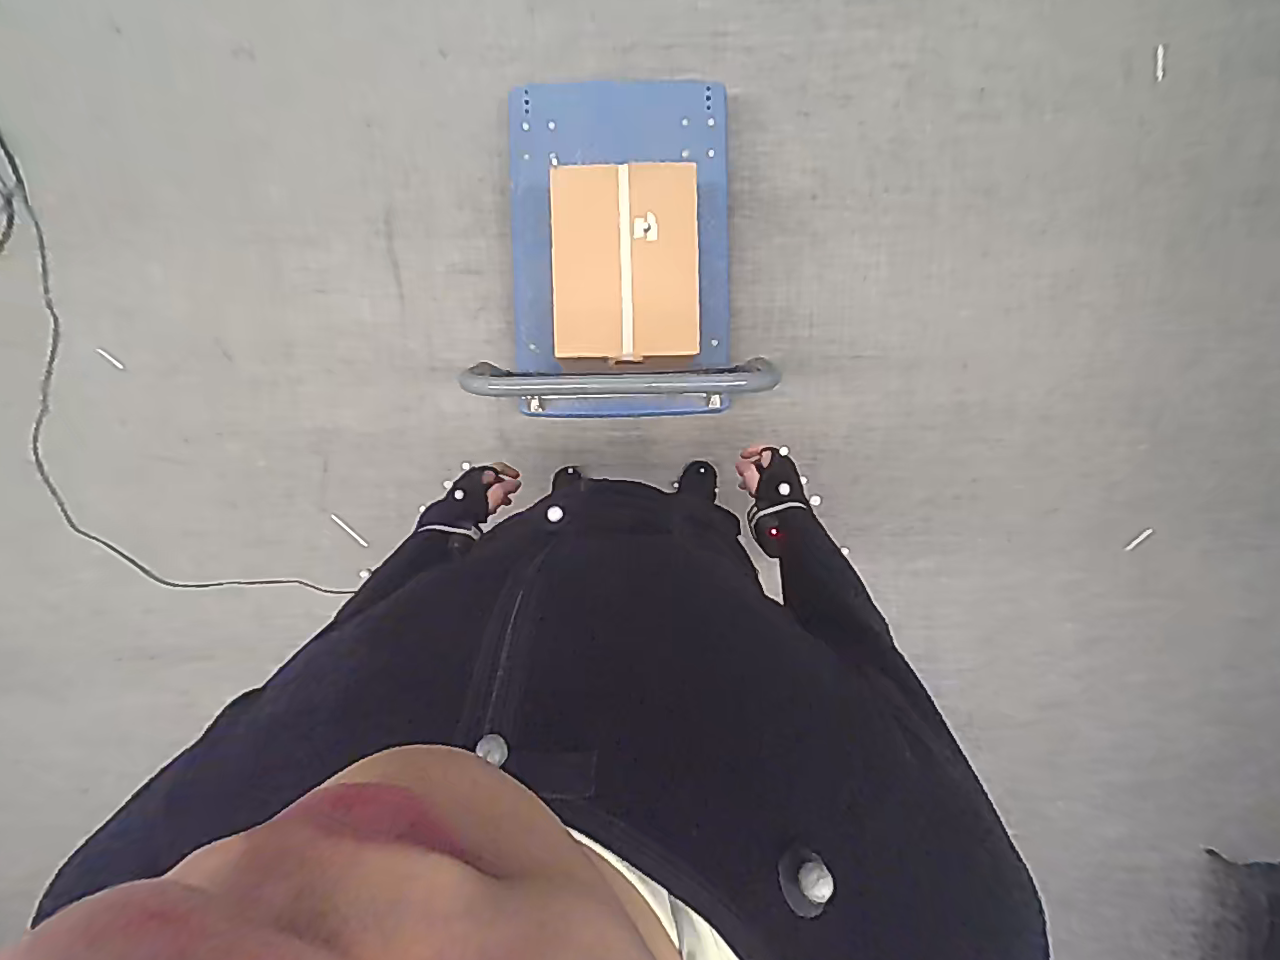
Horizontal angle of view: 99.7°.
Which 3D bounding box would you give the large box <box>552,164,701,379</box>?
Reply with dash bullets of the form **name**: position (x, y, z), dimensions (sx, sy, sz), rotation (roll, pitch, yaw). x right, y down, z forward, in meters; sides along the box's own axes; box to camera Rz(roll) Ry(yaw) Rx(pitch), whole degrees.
- **large box**: position (-0.028, -0.471, 1.301), dimensions (0.320, 0.320, 0.408), rotation (-1, 92, -1)
